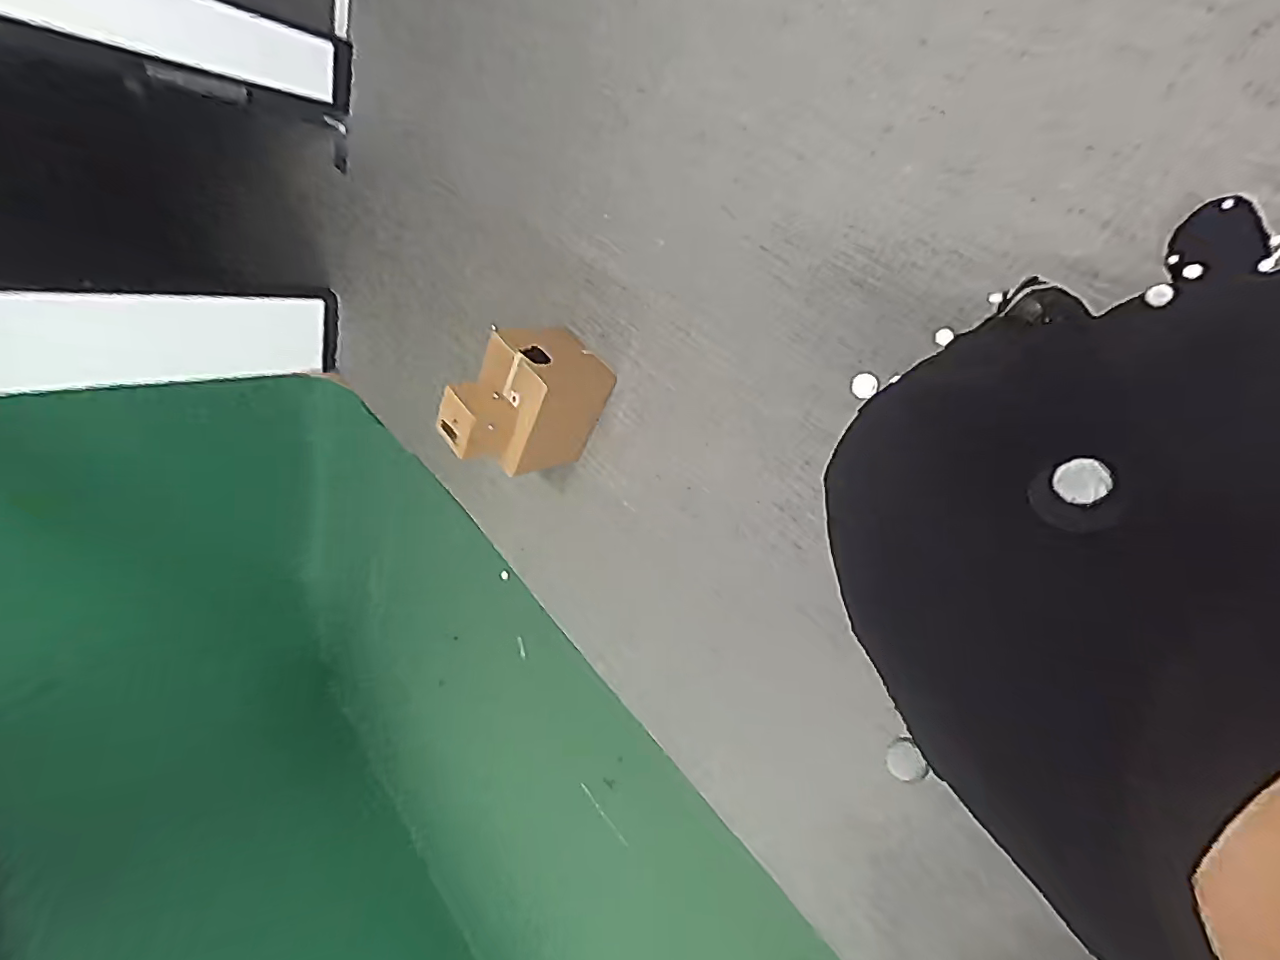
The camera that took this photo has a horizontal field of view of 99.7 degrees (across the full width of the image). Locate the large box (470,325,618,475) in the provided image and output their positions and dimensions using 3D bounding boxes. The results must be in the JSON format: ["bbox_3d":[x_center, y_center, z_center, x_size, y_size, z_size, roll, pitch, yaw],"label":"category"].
[{"bbox_3d":[-0.341,-0.286,1.899,0.320,0.320,0.408,46,127,21],"label":"large box"}]
